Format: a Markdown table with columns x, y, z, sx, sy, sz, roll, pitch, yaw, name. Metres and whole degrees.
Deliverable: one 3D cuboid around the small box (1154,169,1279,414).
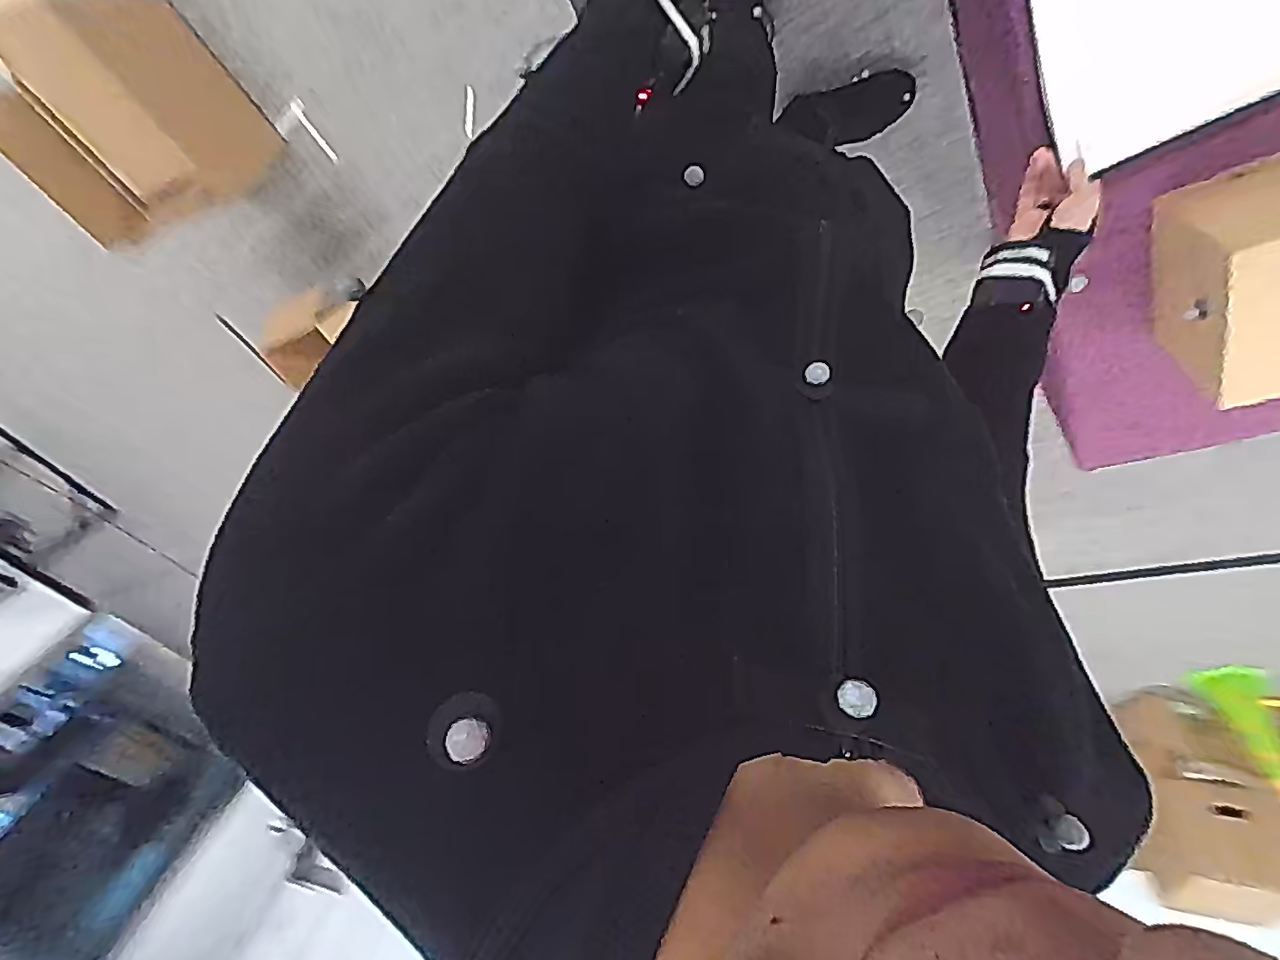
| x | y | z | sx | sy | sz | roll | pitch | yaw | name |
| --- | --- | --- | --- | --- | --- | --- | --- | --- | --- |
| 0.638 | -0.198 | 0.524 | 0.168 | 0.176 | 0.179 | -13 | 126 | 30 | small box |
